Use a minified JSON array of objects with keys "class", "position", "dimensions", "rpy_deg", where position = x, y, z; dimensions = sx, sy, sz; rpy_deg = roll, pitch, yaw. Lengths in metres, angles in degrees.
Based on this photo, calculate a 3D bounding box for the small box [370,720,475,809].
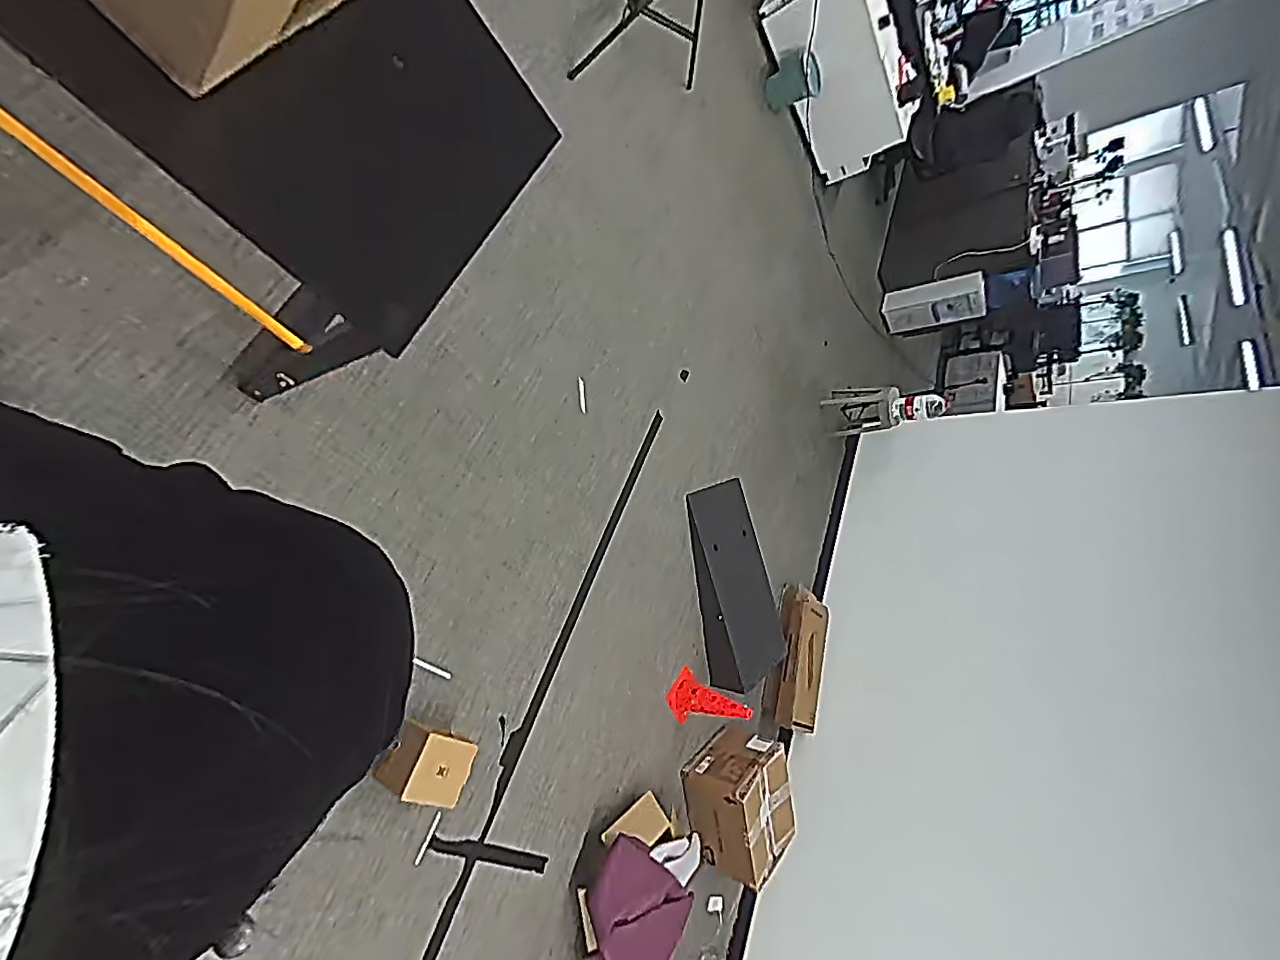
[{"class":"small box","position":[-0.602,0.783,1.497],"dimensions":[0.179,0.176,0.168],"rpy_deg":[41,58,-39]}]
